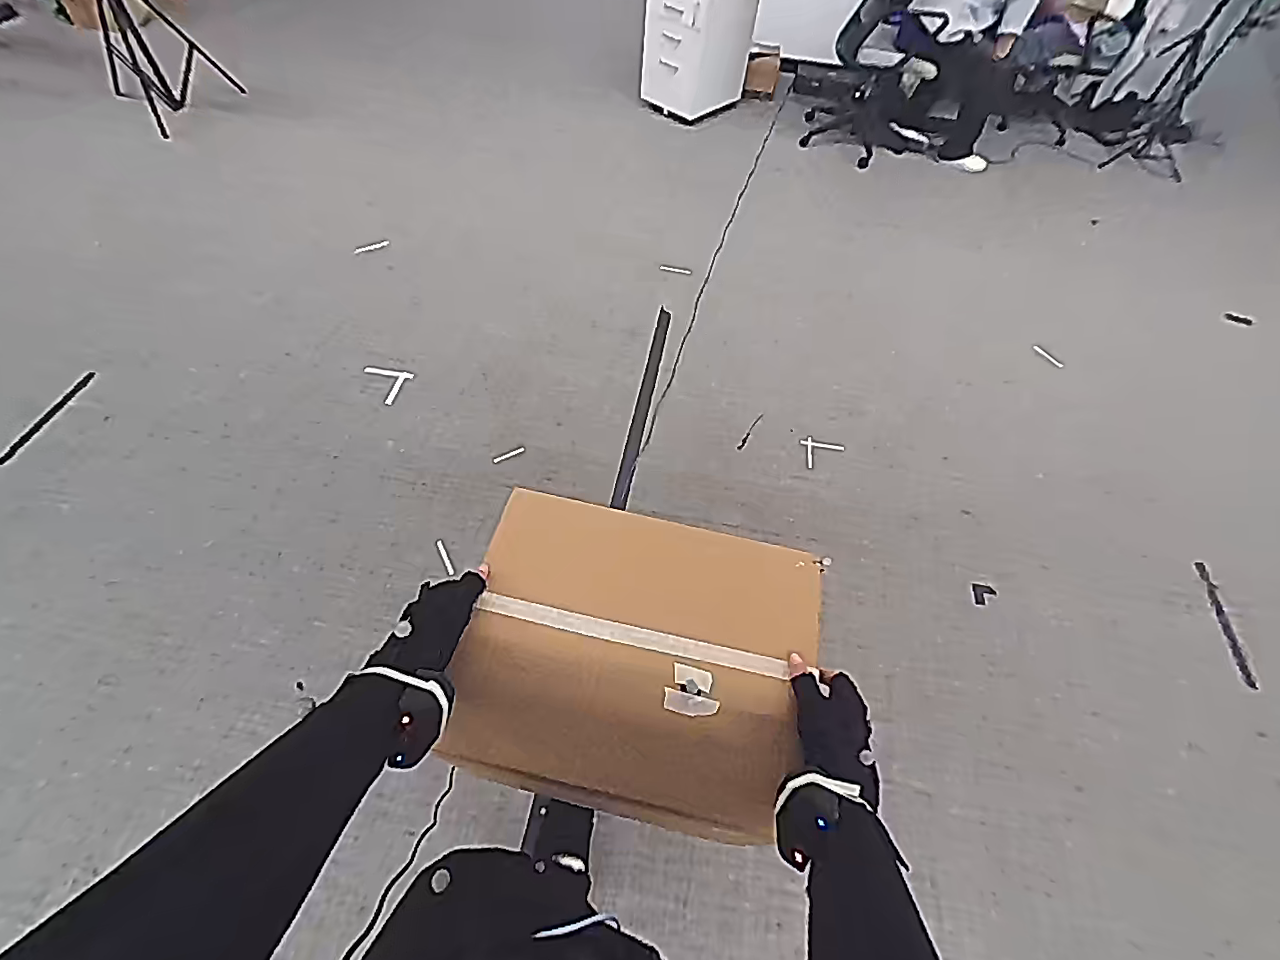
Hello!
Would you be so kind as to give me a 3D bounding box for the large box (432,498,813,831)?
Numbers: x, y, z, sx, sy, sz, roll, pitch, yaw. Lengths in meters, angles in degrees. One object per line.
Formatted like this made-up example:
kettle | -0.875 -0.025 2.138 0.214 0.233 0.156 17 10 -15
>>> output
large box | -0.010 0.266 0.756 0.408 0.320 0.320 13 57 3
